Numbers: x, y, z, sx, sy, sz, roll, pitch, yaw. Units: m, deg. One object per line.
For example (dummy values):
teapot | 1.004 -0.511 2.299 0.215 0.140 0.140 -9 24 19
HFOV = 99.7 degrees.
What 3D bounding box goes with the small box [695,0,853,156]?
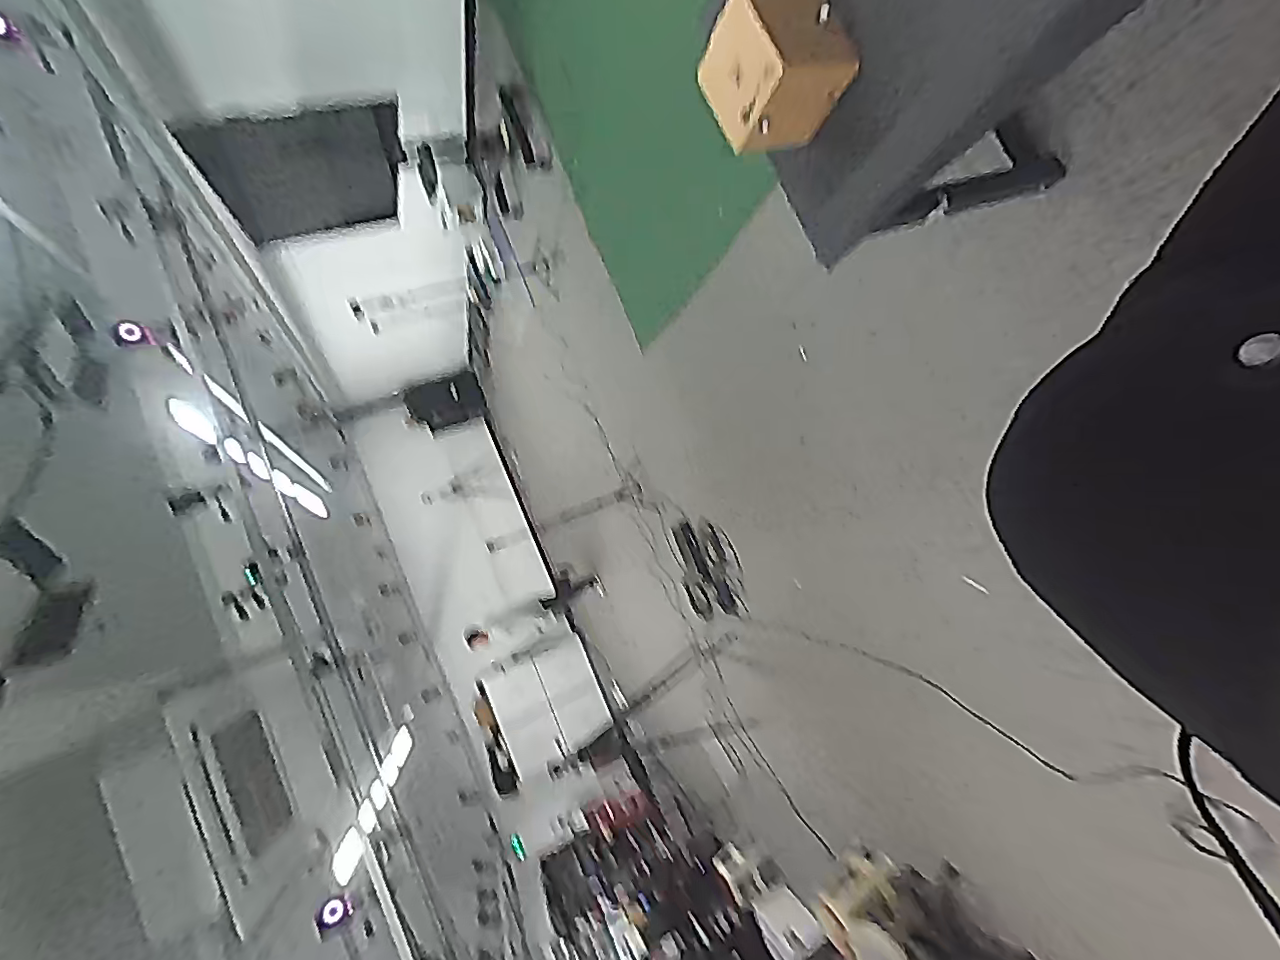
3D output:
small box | 0.228 -0.705 0.940 0.179 0.176 0.168 66 160 7
